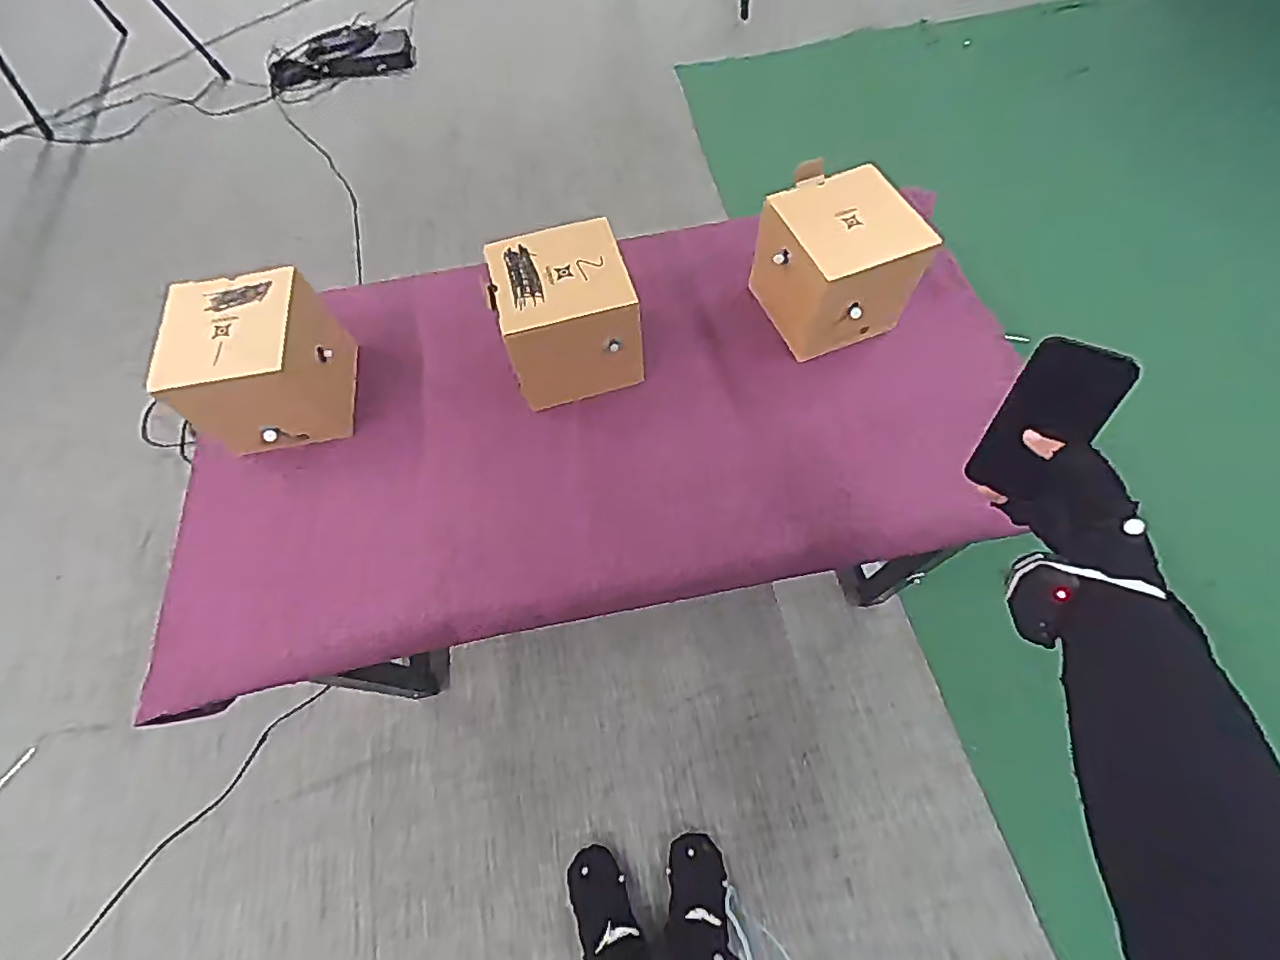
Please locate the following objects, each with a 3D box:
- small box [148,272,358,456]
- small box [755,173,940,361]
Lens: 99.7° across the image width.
[{"bbox_3d":[-0.517,-0.155,0.756,0.168,0.176,0.179,-10,65,-2],"label":"small box"},{"bbox_3d":[0.284,-0.297,0.786,0.168,0.176,0.179,-20,64,-6],"label":"small box"}]
